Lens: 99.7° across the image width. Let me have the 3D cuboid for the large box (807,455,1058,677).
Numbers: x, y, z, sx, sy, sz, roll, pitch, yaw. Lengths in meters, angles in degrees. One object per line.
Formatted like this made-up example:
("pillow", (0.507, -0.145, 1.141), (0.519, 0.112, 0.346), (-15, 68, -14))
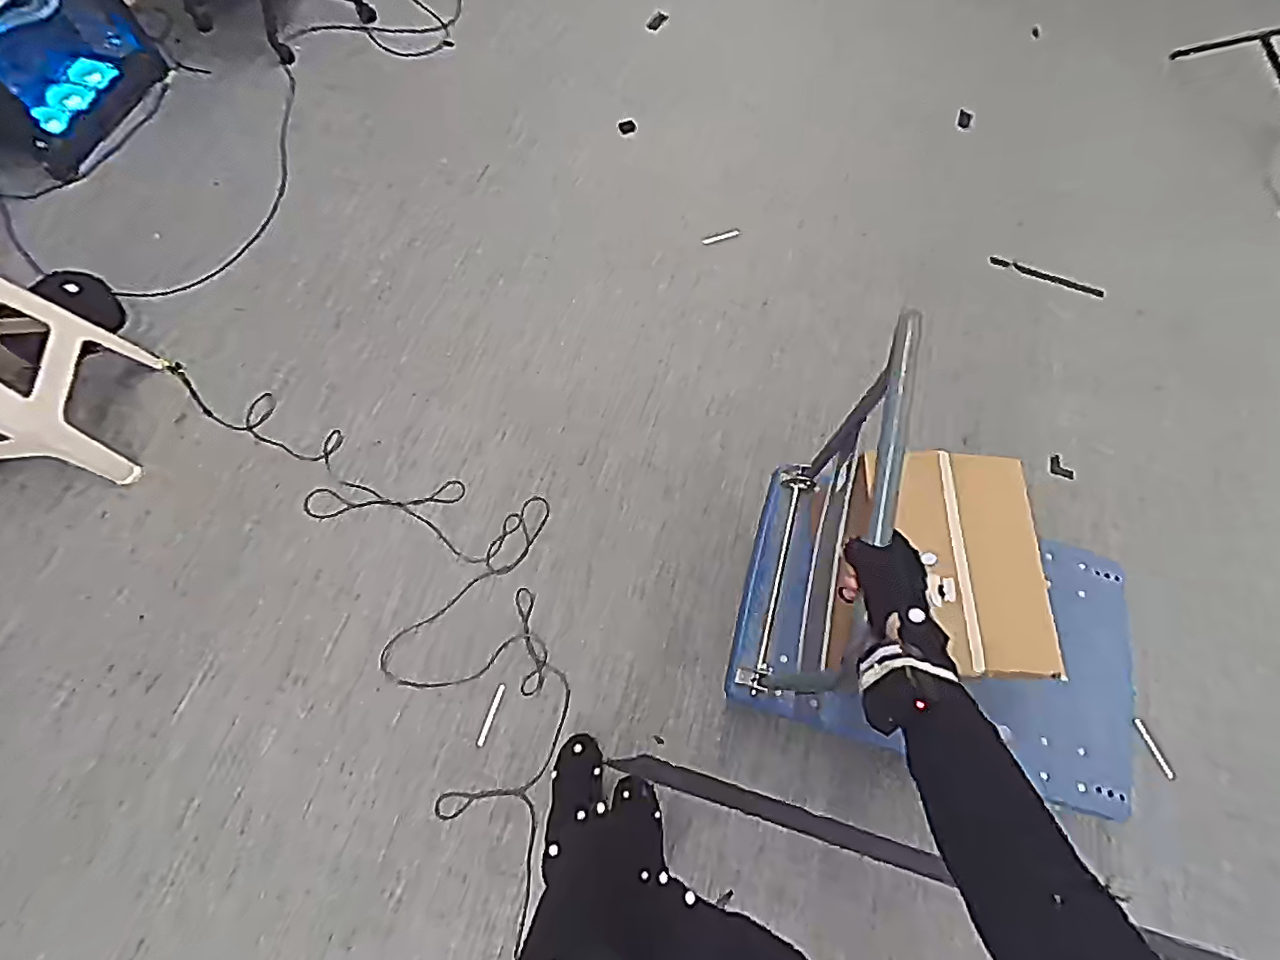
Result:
("large box", (0.563, 0.191, 1.127), (0.320, 0.320, 0.408), (3, 70, -2))
